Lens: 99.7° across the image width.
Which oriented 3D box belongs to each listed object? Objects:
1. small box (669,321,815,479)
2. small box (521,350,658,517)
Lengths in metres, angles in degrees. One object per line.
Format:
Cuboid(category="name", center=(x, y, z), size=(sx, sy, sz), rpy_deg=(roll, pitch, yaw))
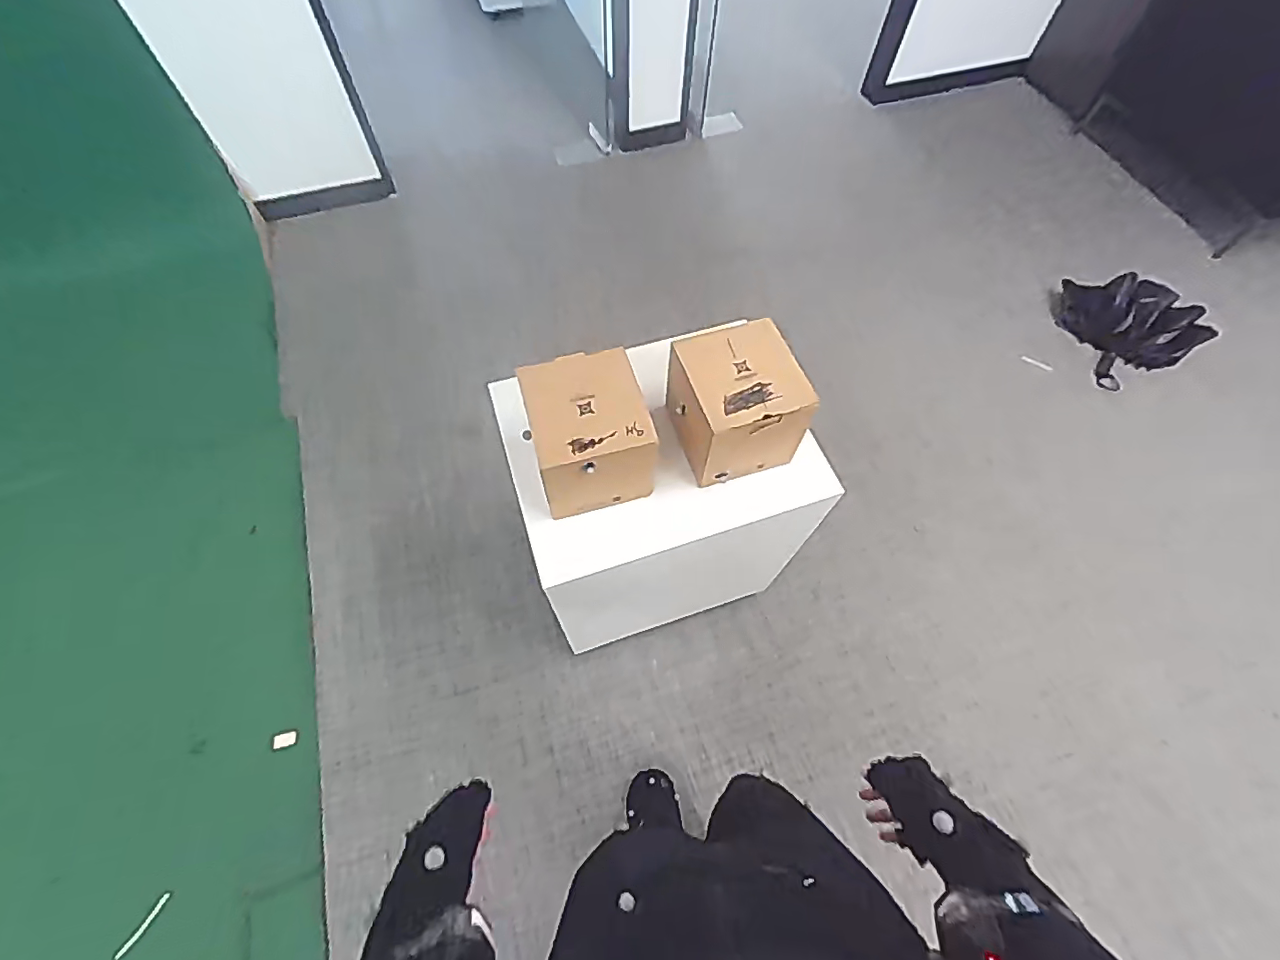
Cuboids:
Cuboid(category="small box", center=(0.150, -0.118, 0.865), size=(0.168, 0.176, 0.179), rpy_deg=(-15, 62, -9))
Cuboid(category="small box", center=(-0.076, -0.068, 0.835), size=(0.168, 0.176, 0.179), rpy_deg=(-14, 62, -8))
